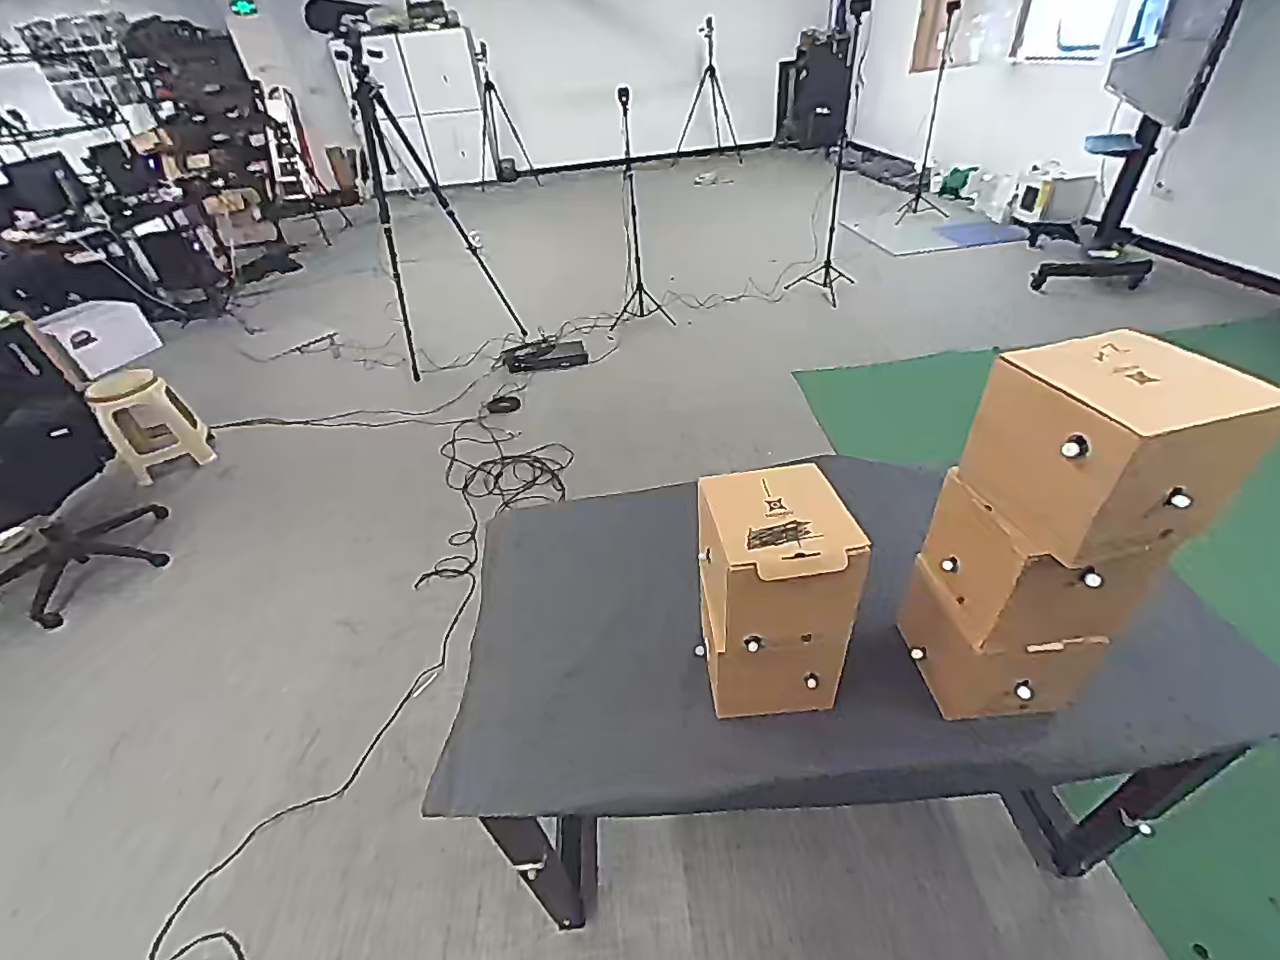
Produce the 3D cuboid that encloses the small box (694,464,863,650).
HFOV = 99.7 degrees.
[{"bbox_3d":[0.170,0.105,0.712,0.168,0.176,0.179,-8,36,-2],"label":"small box"}]

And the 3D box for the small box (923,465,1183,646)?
[{"bbox_3d":[0.493,0.087,0.682,0.179,0.176,0.168,-8,37,1],"label":"small box"}]

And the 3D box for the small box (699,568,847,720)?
[{"bbox_3d":[0.187,0.236,0.810,0.179,0.176,0.168,-7,37,2],"label":"small box"}]

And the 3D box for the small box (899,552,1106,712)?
[{"bbox_3d":[0.501,0.216,0.781,0.168,0.176,0.179,-7,38,2],"label":"small box"}]

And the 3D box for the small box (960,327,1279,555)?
[{"bbox_3d":[0.485,-0.039,0.575,0.168,0.176,0.179,-12,37,-6],"label":"small box"}]
